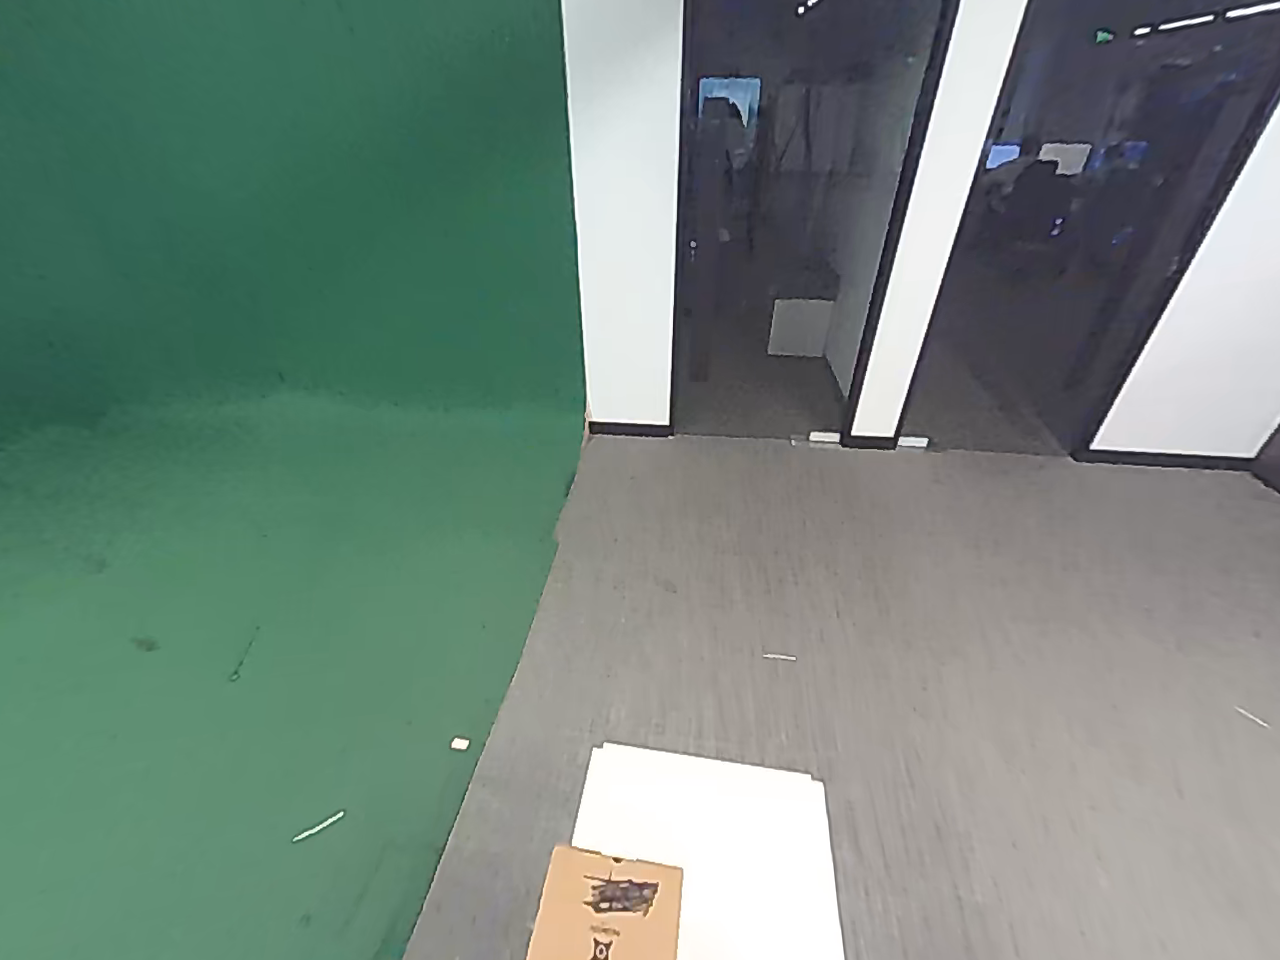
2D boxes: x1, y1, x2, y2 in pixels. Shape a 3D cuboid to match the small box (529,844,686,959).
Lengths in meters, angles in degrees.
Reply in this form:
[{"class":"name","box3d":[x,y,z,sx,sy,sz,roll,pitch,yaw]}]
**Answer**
[{"class":"small box","box3d":[-0.039,0.584,0.652,0.168,0.176,0.179,5,35,7]}]
